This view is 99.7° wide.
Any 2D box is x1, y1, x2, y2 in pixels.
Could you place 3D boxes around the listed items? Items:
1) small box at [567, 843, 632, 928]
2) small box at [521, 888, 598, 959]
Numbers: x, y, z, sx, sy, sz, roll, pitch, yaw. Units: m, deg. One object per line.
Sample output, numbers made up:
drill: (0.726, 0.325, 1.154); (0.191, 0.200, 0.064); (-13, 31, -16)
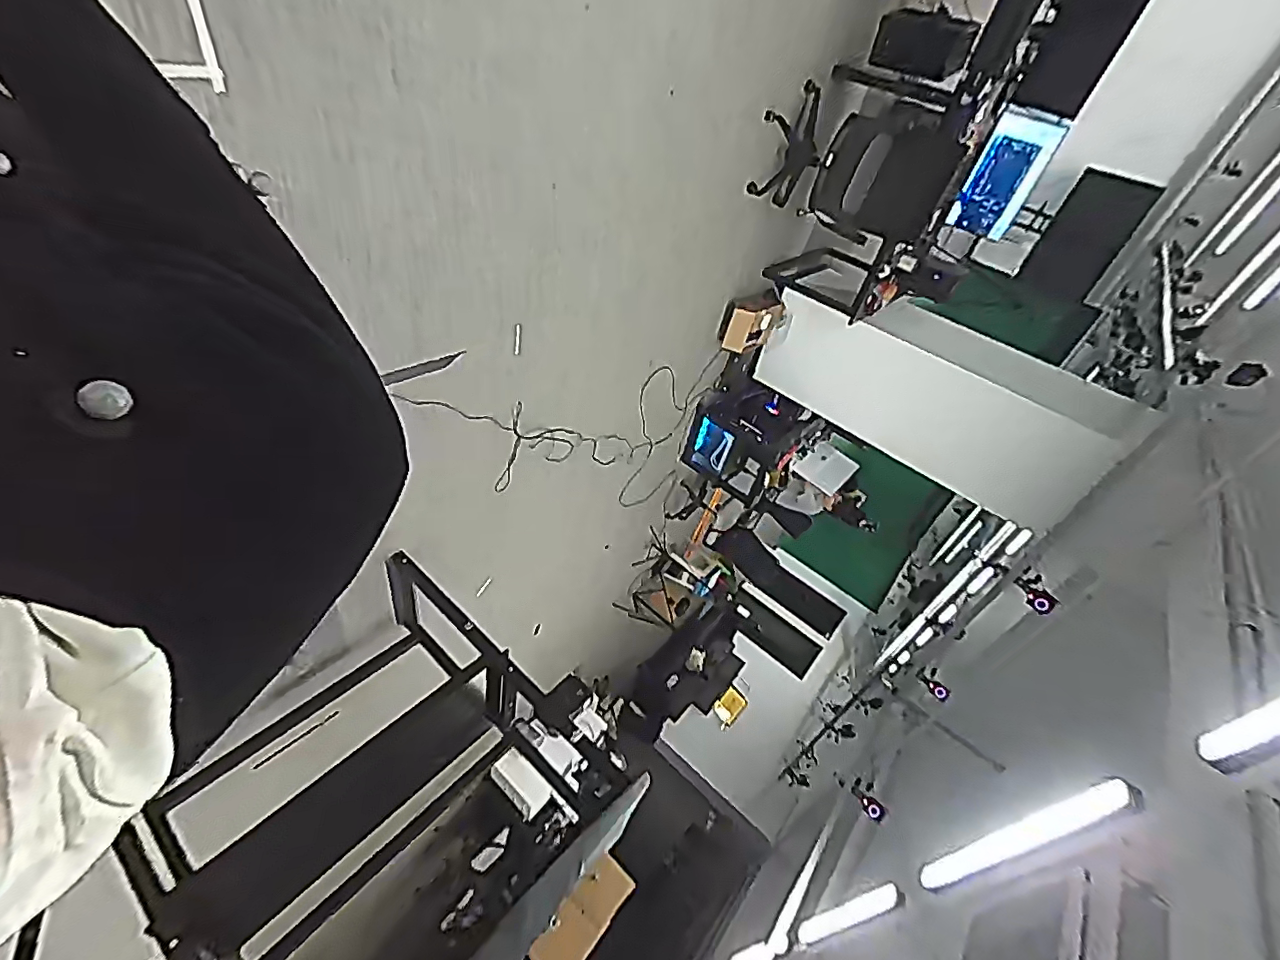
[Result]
small box: (-0.158, 1.526, 2.038); (0.179, 0.176, 0.168); (-34, 150, -39)
small box: (-0.256, 1.421, 1.688); (0.168, 0.176, 0.179); (-37, 154, -38)
